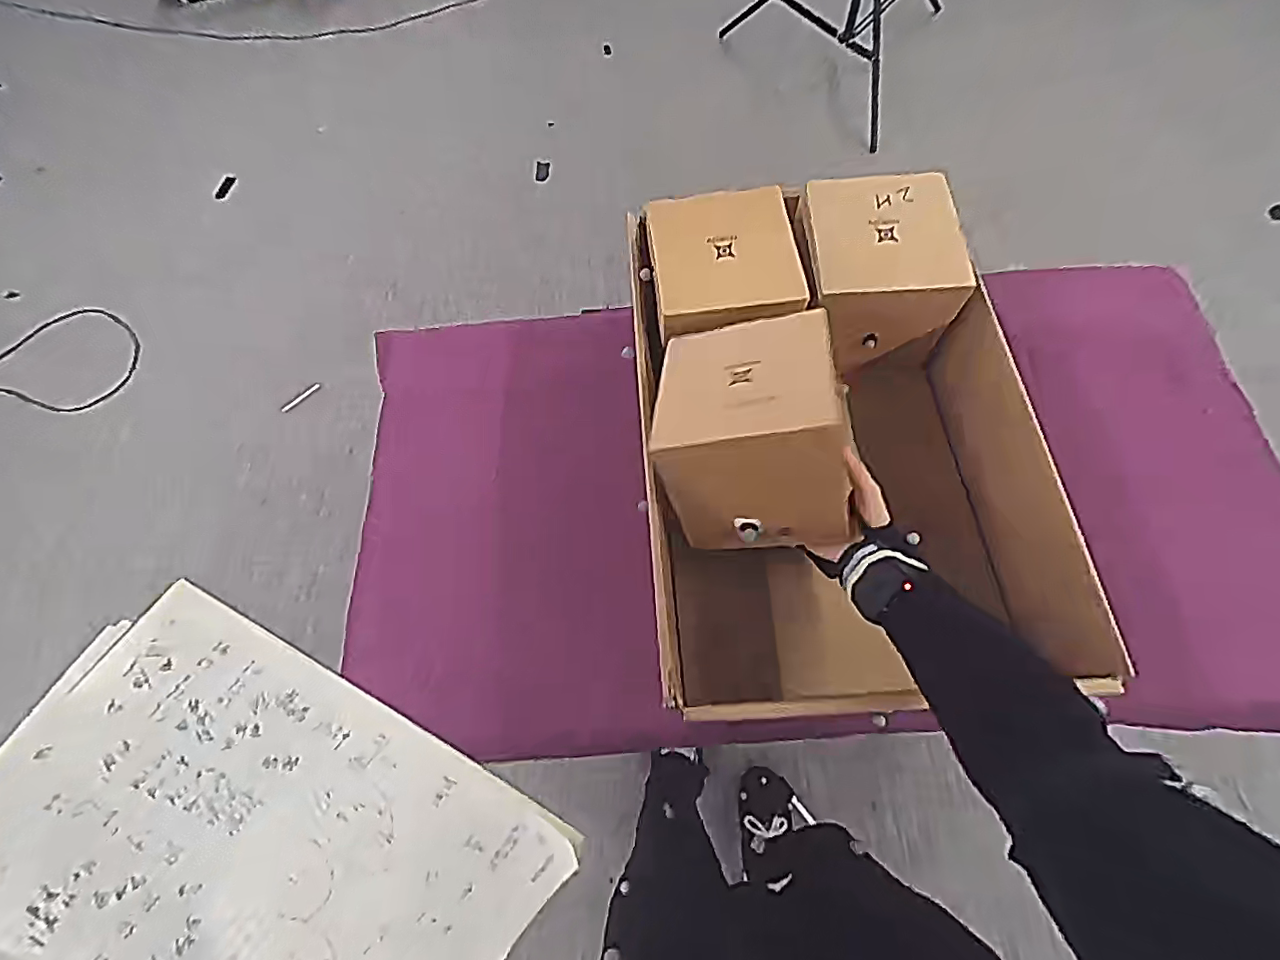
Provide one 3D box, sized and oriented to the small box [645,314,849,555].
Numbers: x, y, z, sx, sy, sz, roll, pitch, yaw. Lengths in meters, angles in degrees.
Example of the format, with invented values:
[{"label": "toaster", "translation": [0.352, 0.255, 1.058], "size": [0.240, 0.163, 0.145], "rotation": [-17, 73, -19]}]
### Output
[{"label": "small box", "translation": [0.121, -0.043, 0.575], "size": [0.168, 0.176, 0.179], "rotation": [-9, 44, 22]}]
